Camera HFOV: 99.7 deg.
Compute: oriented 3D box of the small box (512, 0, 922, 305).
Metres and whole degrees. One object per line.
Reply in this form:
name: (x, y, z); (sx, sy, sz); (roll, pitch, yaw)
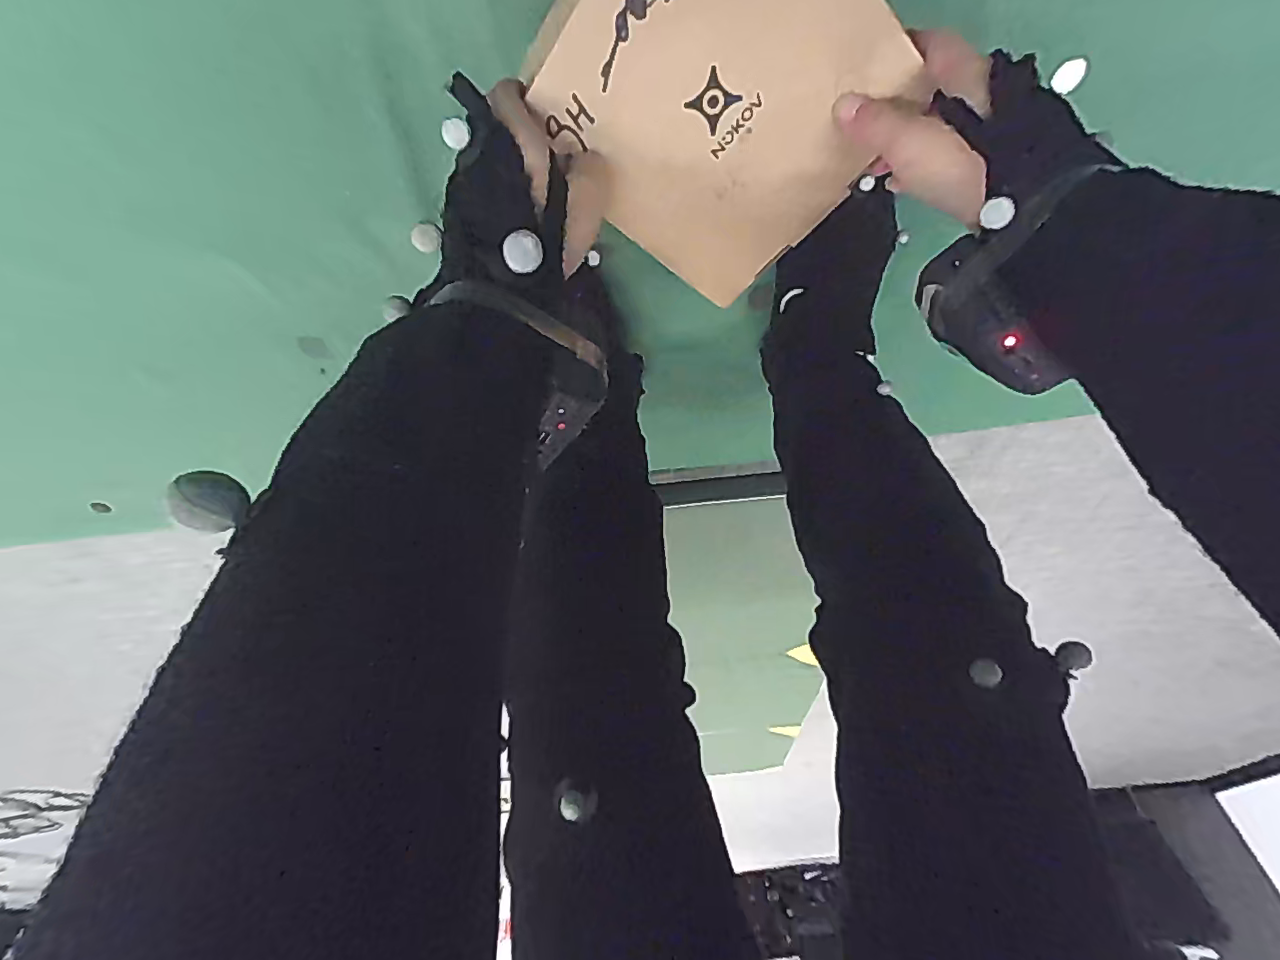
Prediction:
small box: (0.039, -0.261, 0.355); (0.179, 0.176, 0.168); (26, 129, -31)
